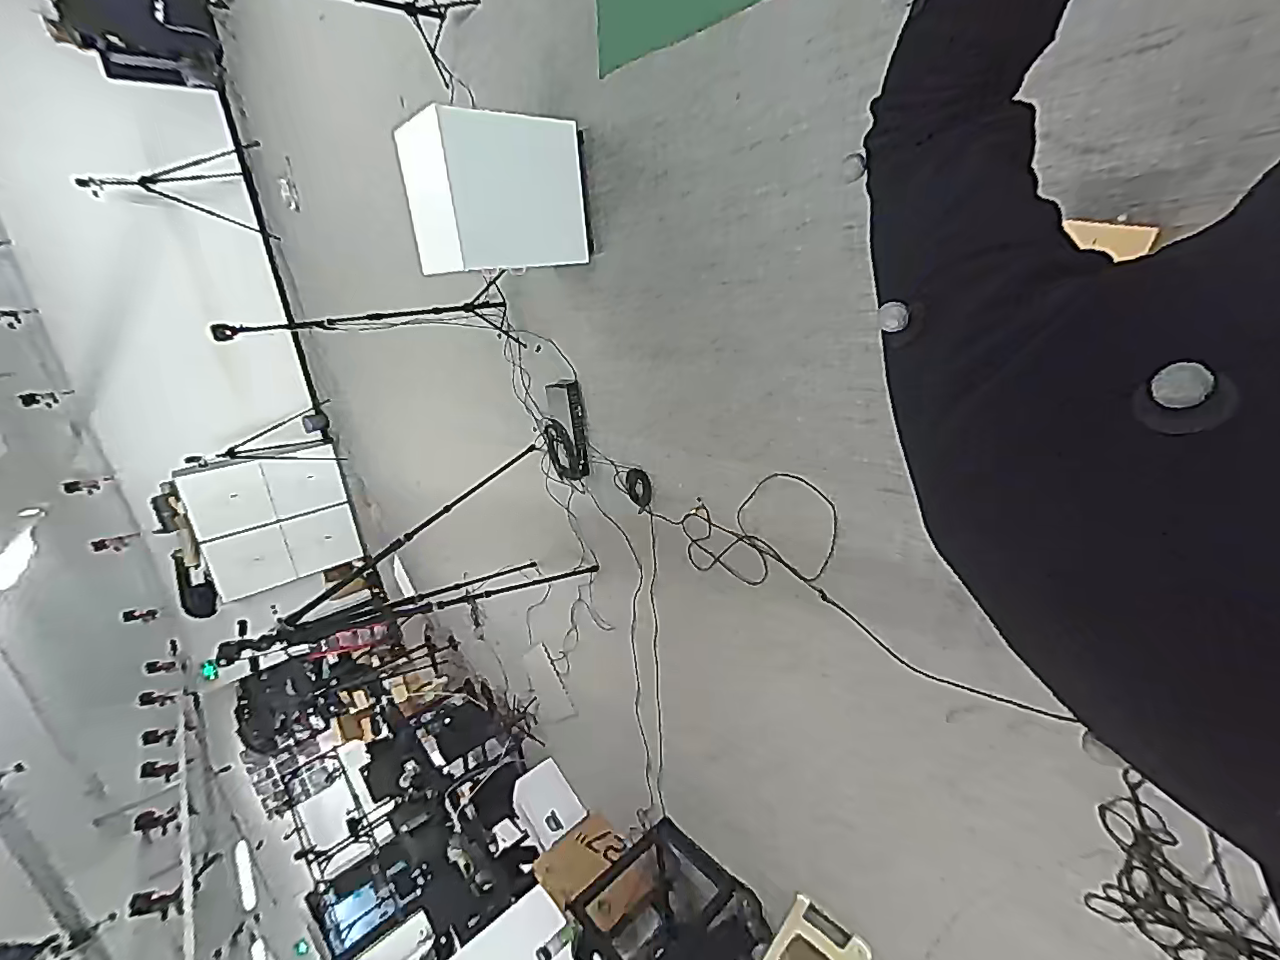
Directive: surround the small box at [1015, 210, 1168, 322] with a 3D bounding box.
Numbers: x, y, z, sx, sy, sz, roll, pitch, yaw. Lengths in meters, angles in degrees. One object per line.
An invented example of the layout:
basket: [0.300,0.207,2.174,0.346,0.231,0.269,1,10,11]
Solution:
small box: [0.883,-0.422,1.058,0.168,0.176,0.179,32,128,39]
